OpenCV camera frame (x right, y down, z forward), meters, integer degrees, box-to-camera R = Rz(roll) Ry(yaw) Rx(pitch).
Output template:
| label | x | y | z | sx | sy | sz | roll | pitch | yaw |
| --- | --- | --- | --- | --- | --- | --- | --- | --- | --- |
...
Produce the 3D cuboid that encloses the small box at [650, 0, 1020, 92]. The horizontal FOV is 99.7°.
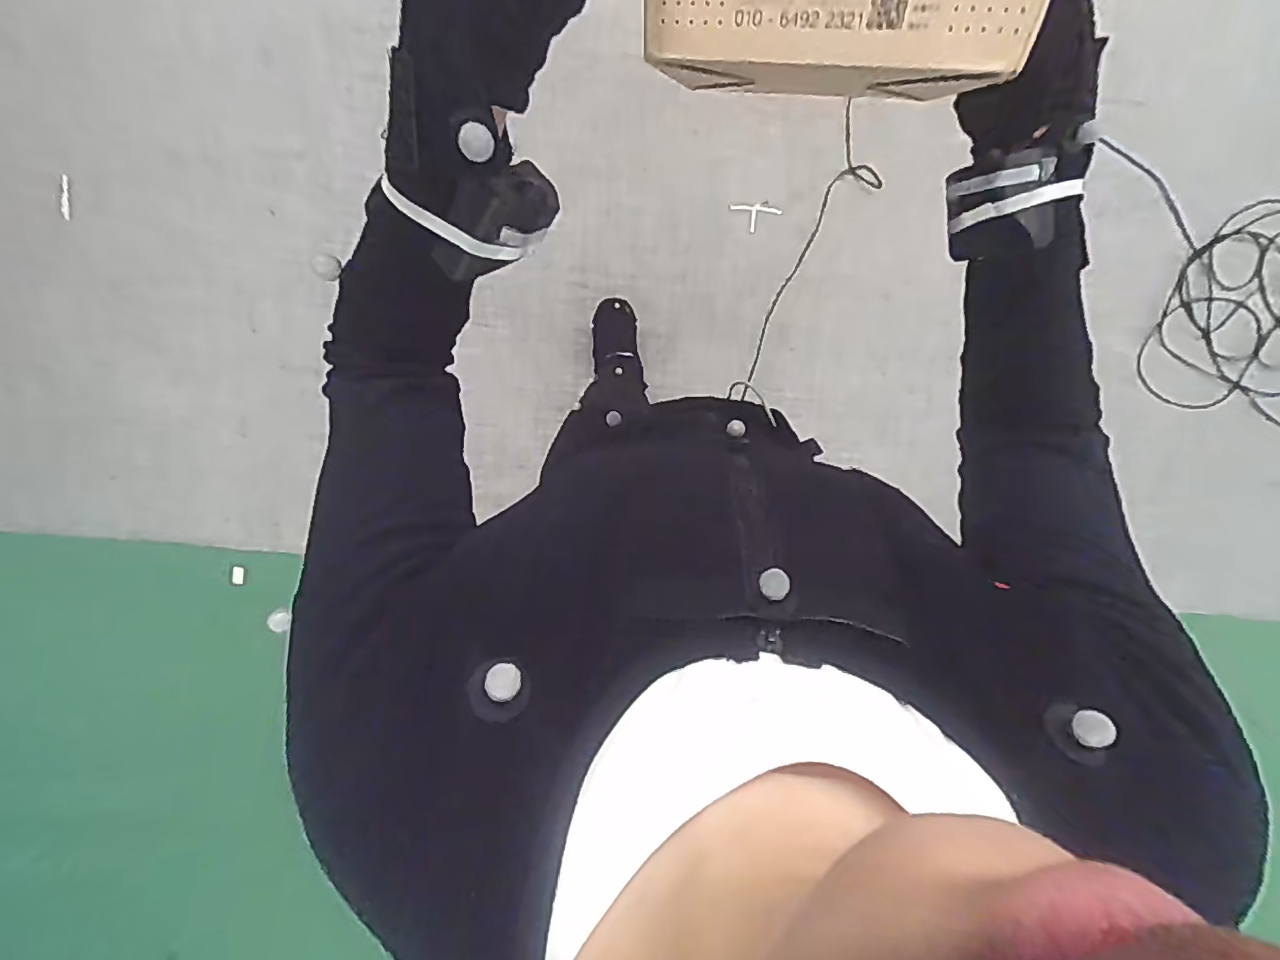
| label | x | y | z | sx | sy | sz | roll | pitch | yaw |
| --- | --- | --- | --- | --- | --- | --- | --- | --- | --- |
| small box | 0.101 | -0.305 | 0.273 | 0.168 | 0.179 | 0.176 | 8 | 123 | 7 |
